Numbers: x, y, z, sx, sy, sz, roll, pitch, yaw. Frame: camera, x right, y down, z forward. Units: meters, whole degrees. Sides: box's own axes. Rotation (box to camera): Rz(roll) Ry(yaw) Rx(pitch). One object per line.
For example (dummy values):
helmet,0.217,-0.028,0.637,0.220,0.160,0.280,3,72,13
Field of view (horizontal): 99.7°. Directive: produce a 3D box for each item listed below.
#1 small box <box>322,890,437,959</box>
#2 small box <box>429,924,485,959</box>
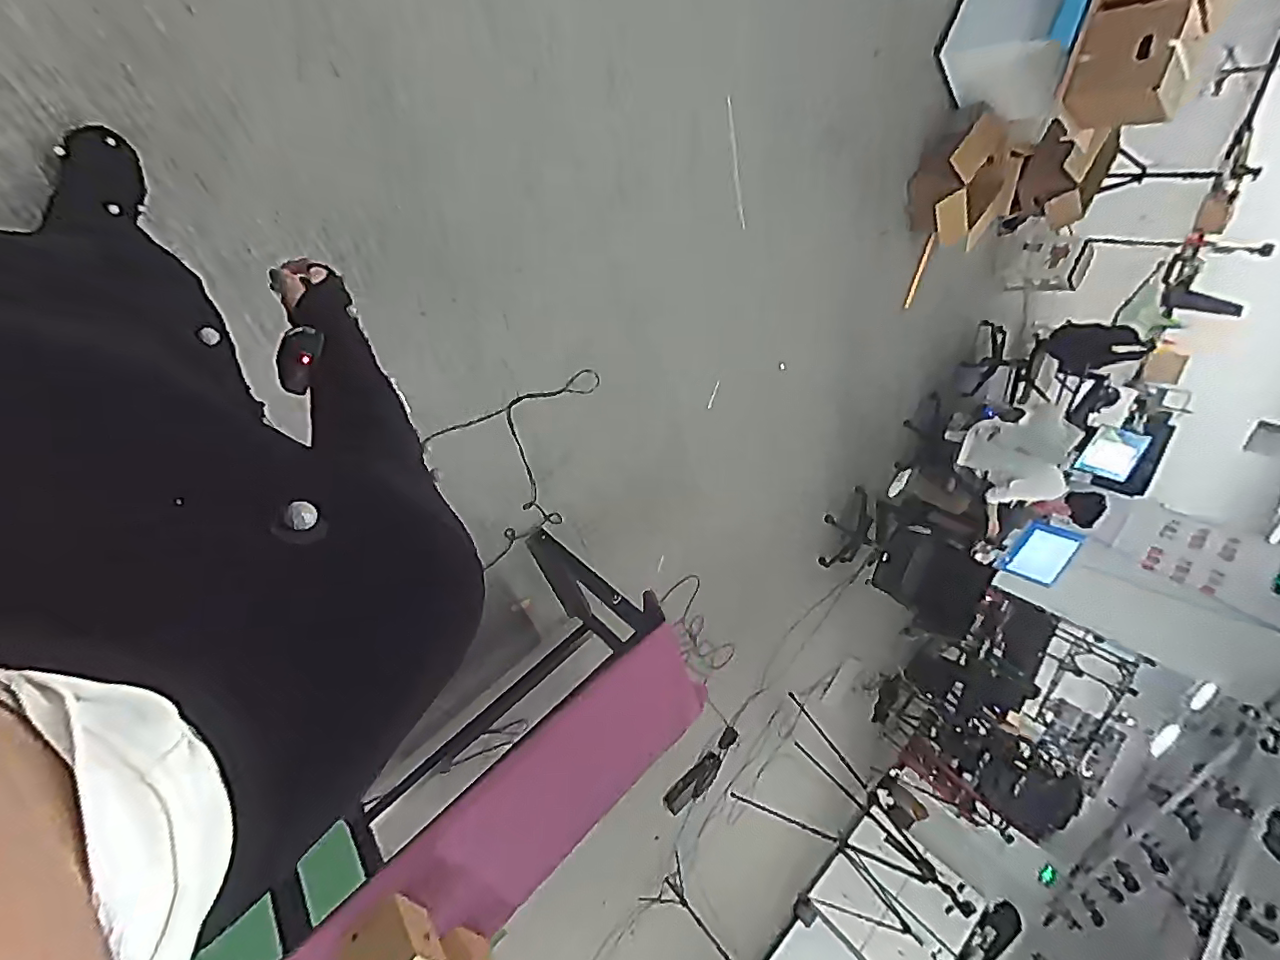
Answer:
small box,-0.609,1.119,1.273,0.168,0.176,0.179,-37,133,-24
small box,-0.529,1.384,1.496,0.168,0.176,0.179,-40,133,-23
